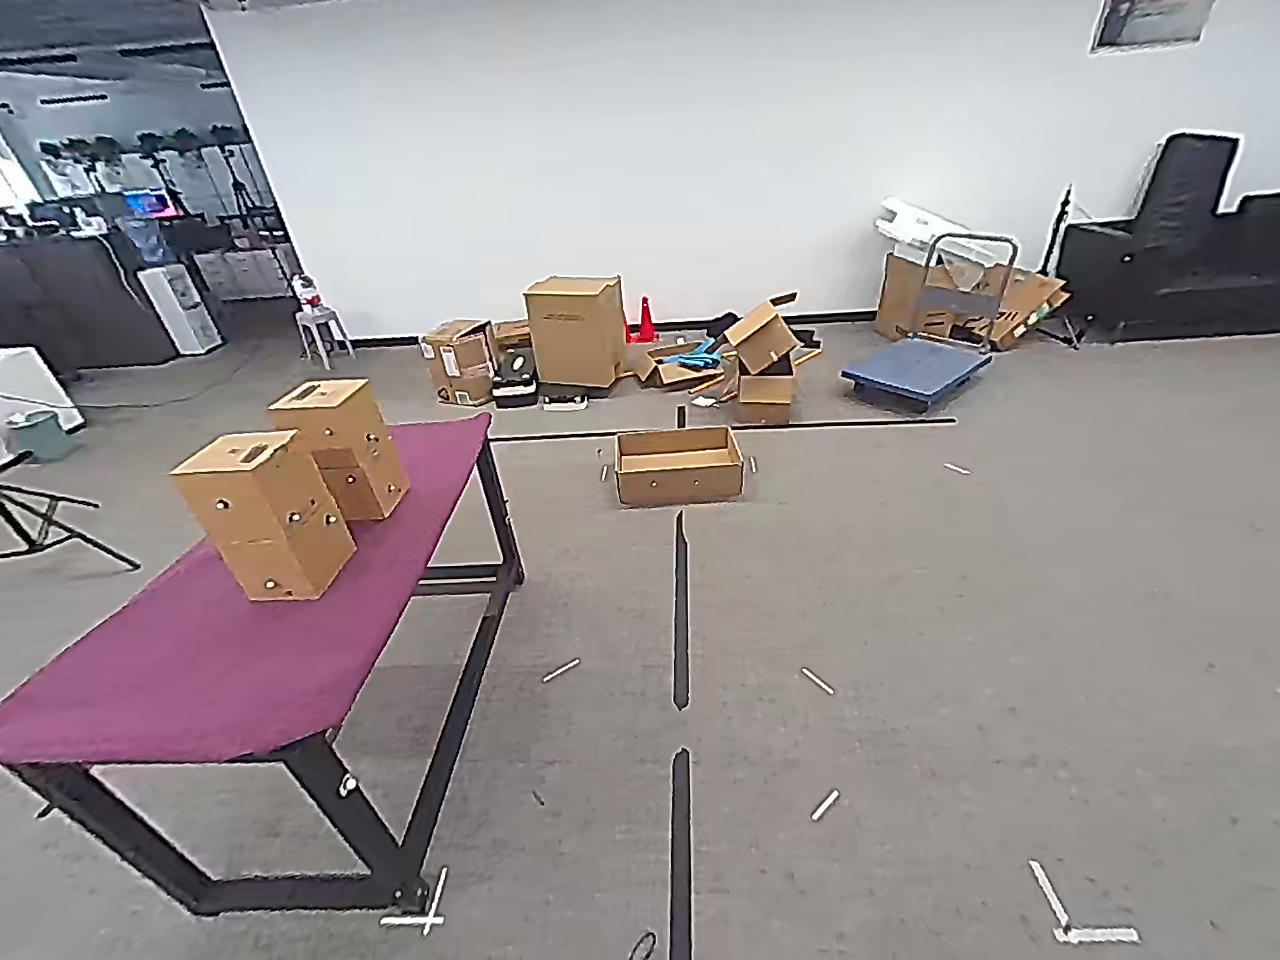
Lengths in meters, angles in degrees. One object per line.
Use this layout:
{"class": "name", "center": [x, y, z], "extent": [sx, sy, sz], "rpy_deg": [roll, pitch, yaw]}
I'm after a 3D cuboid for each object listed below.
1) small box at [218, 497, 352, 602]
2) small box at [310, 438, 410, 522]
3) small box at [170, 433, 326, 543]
{"class": "small box", "center": [-0.787, 0.155, 1.227], "extent": [0.168, 0.176, 0.179], "rpy_deg": [-2, 33, 5]}
{"class": "small box", "center": [-0.760, 0.002, 1.463], "extent": [0.179, 0.176, 0.168], "rpy_deg": [-3, 33, 5]}
{"class": "small box", "center": [-0.807, 0.018, 1.140], "extent": [0.179, 0.176, 0.168], "rpy_deg": [-4, 32, 4]}
